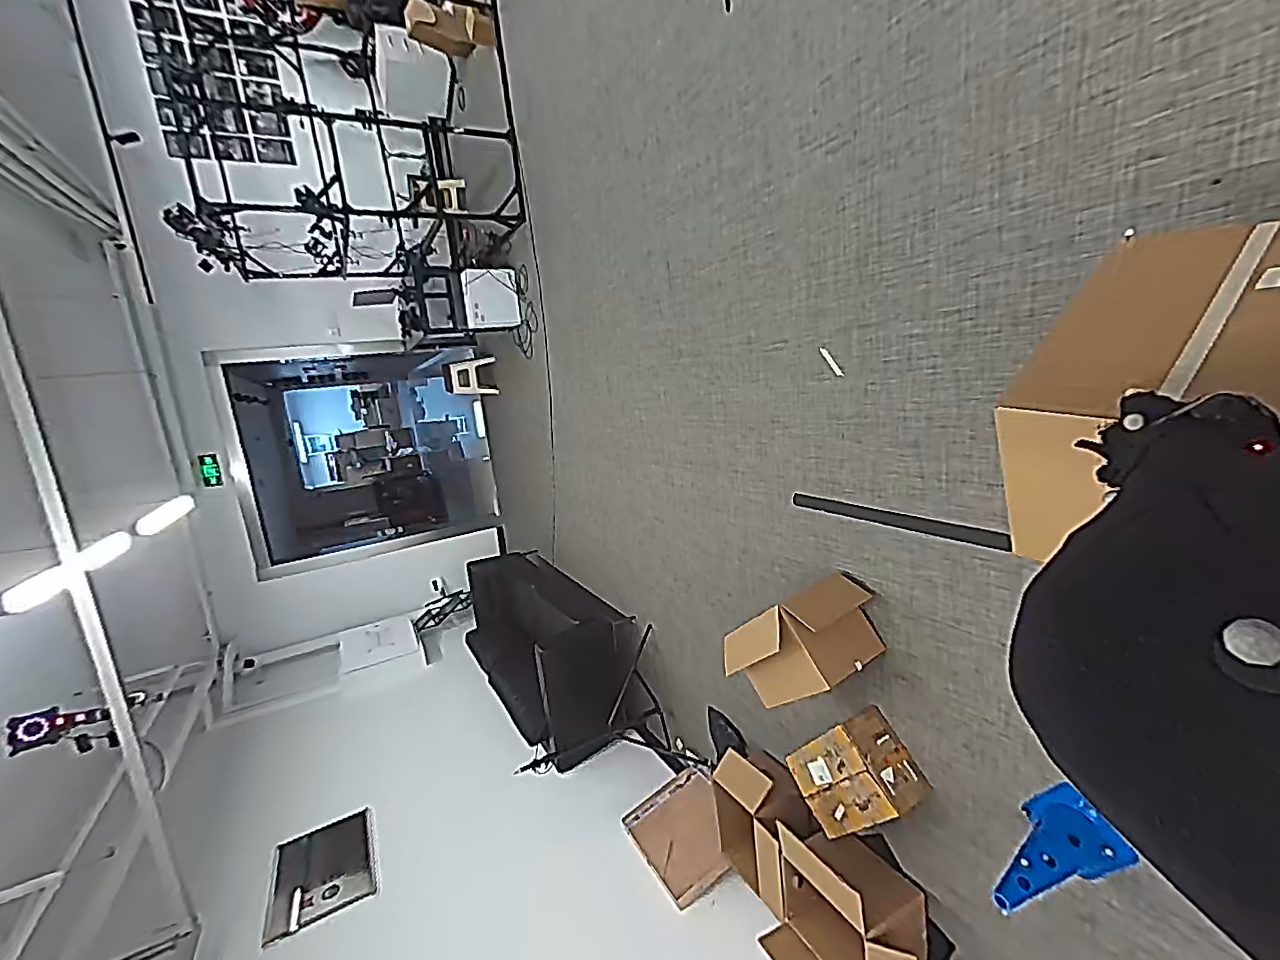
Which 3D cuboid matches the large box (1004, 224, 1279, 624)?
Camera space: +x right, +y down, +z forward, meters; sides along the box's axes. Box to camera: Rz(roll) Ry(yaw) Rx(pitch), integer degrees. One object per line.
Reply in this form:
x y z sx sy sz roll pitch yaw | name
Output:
0.753 -0.088 0.722 0.320 0.408 0.320 22 151 51 | large box
